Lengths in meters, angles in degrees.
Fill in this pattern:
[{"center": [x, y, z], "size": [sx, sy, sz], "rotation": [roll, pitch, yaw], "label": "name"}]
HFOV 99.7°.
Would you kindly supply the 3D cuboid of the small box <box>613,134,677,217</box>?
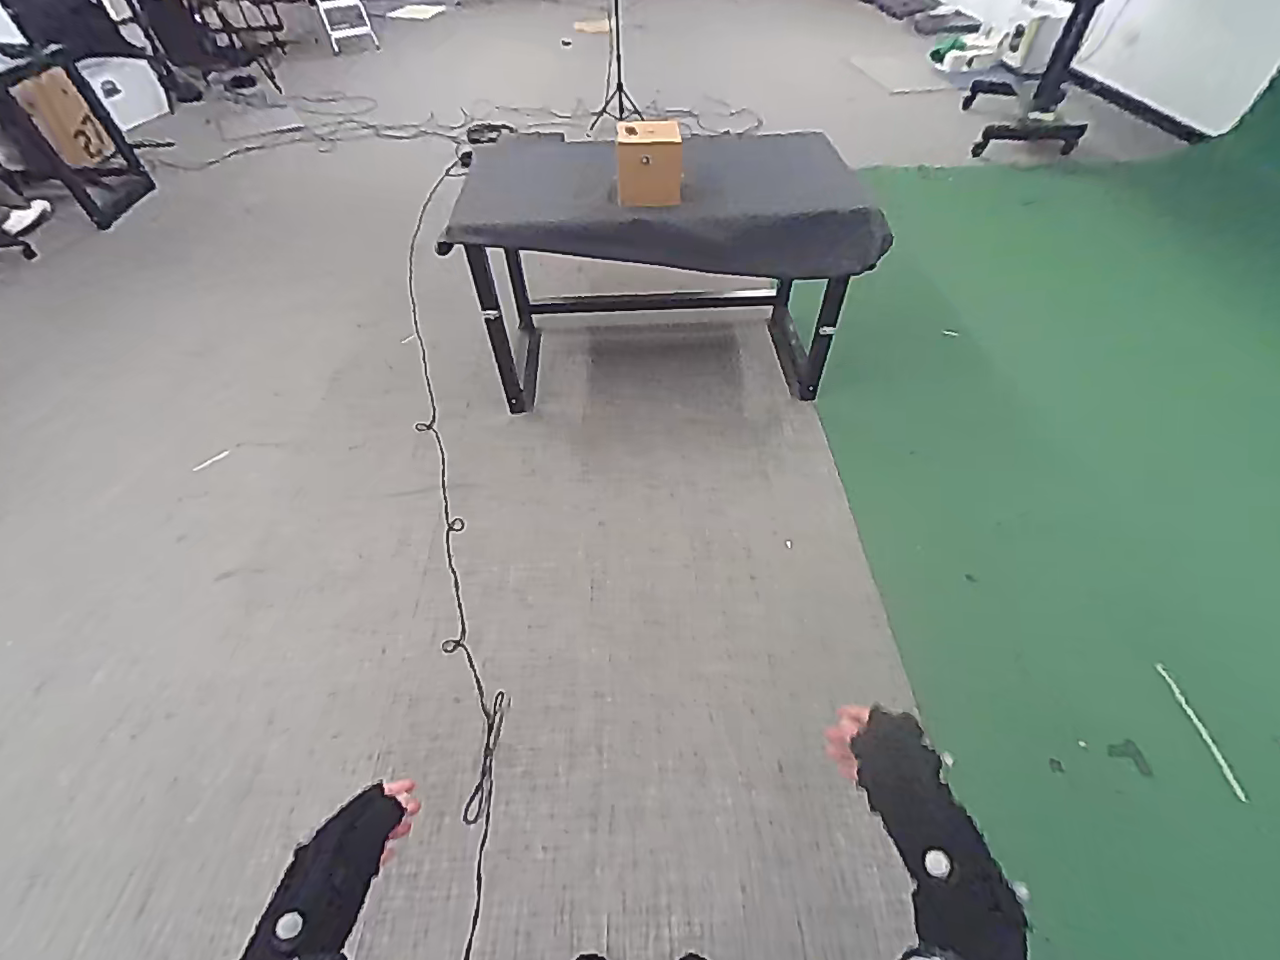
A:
[{"center": [0.015, -0.881, 1.570], "size": [0.179, 0.176, 0.168], "rotation": [-2, 50, -1], "label": "small box"}]
